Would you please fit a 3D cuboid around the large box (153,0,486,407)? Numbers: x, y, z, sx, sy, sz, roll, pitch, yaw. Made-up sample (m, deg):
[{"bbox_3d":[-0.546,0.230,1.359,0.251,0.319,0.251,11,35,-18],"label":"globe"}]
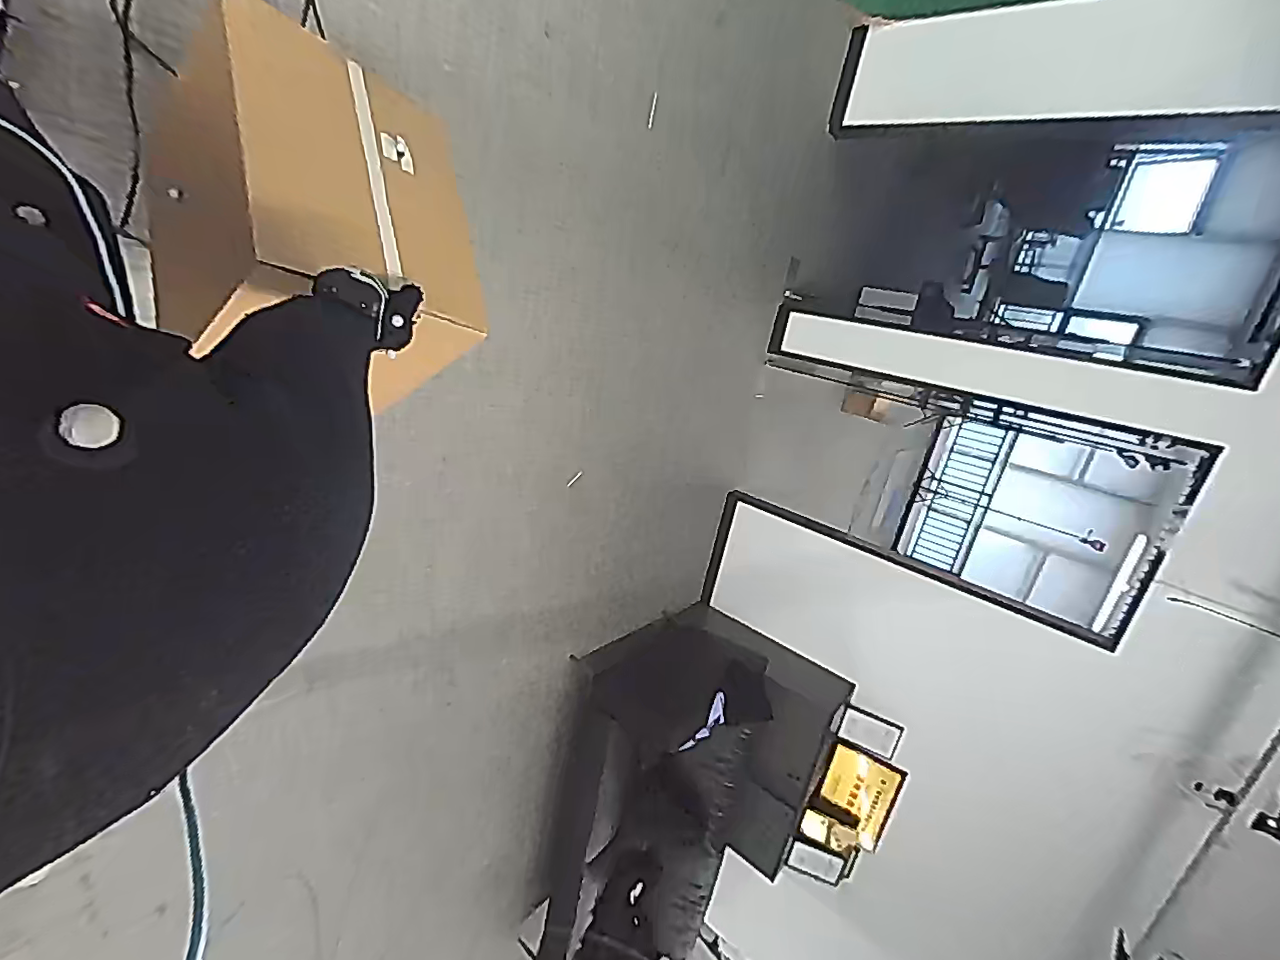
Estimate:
[{"bbox_3d":[-0.492,-0.365,0.828,0.320,0.320,0.408,3,67,-56],"label":"large box"}]
